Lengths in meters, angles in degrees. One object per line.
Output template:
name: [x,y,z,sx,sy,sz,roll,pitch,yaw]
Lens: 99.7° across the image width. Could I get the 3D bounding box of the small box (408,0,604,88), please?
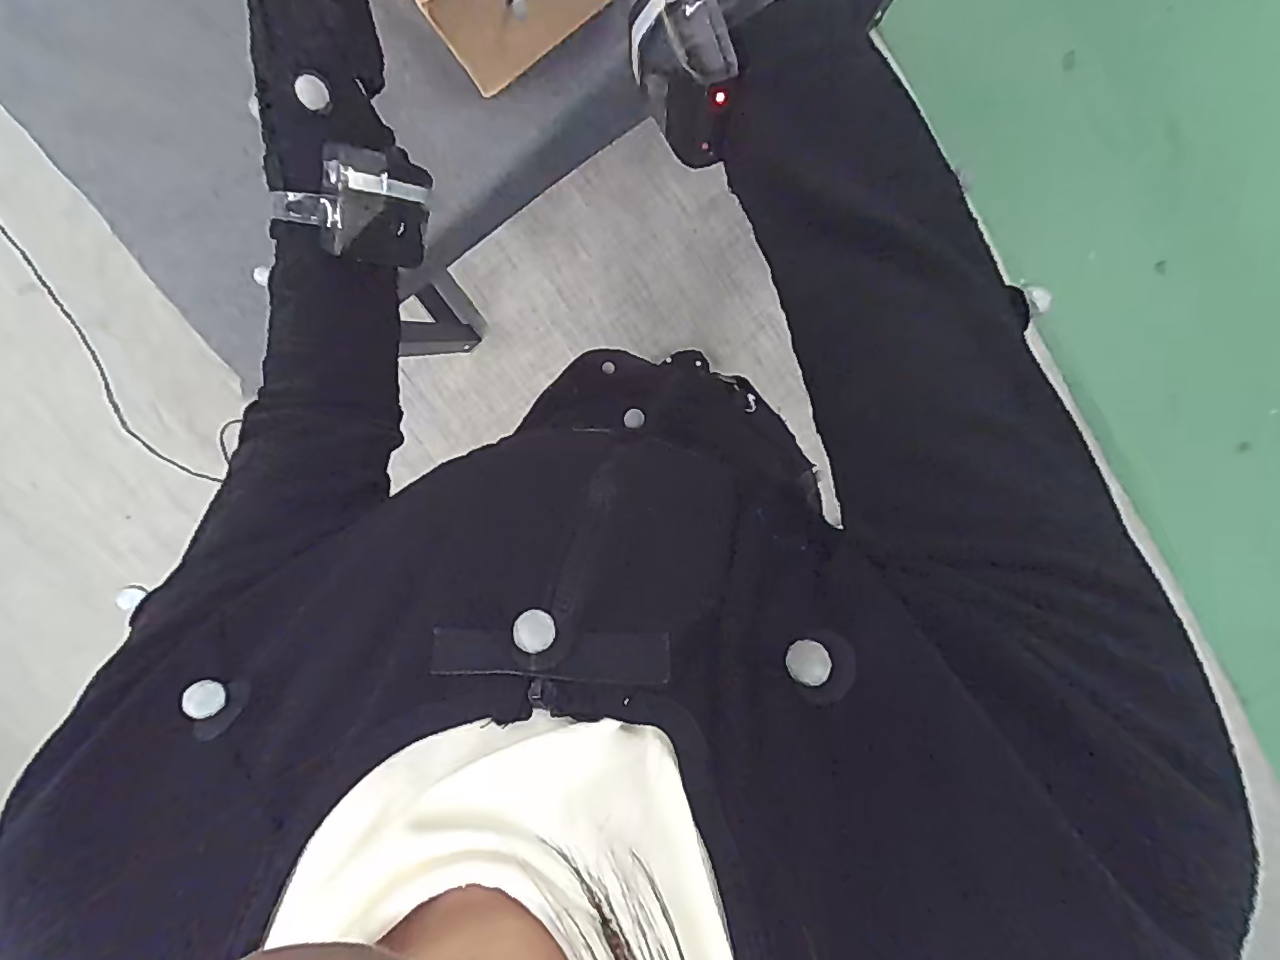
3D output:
small box: [-0.141,-0.506,0.481,0.179,0.176,0.168,-31,99,12]
